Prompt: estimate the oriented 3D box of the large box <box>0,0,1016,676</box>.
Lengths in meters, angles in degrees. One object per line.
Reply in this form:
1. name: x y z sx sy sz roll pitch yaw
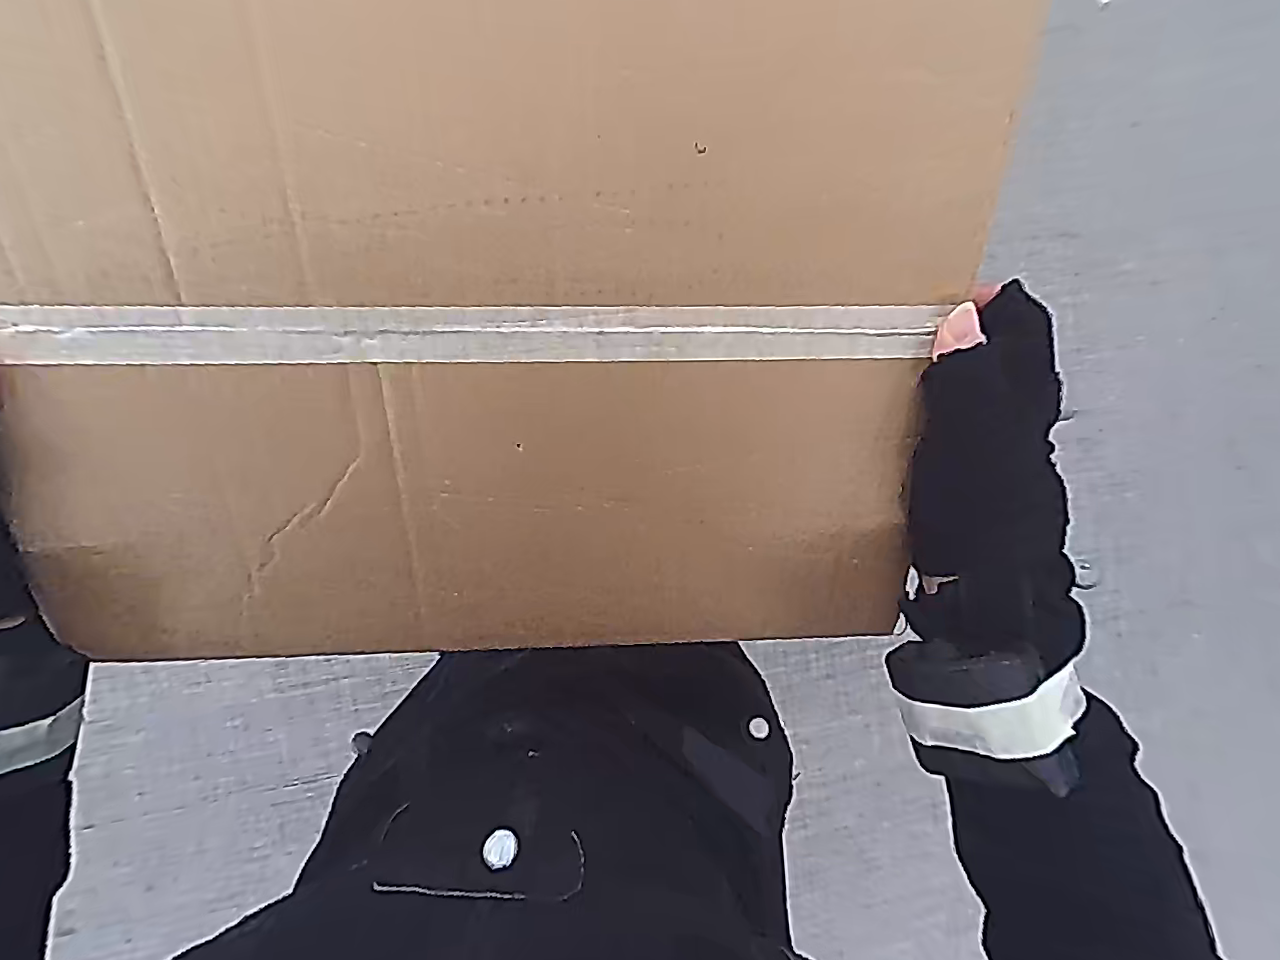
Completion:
1. large box: -0.078 -0.106 0.360 0.408 0.320 0.320 -1 113 -4
